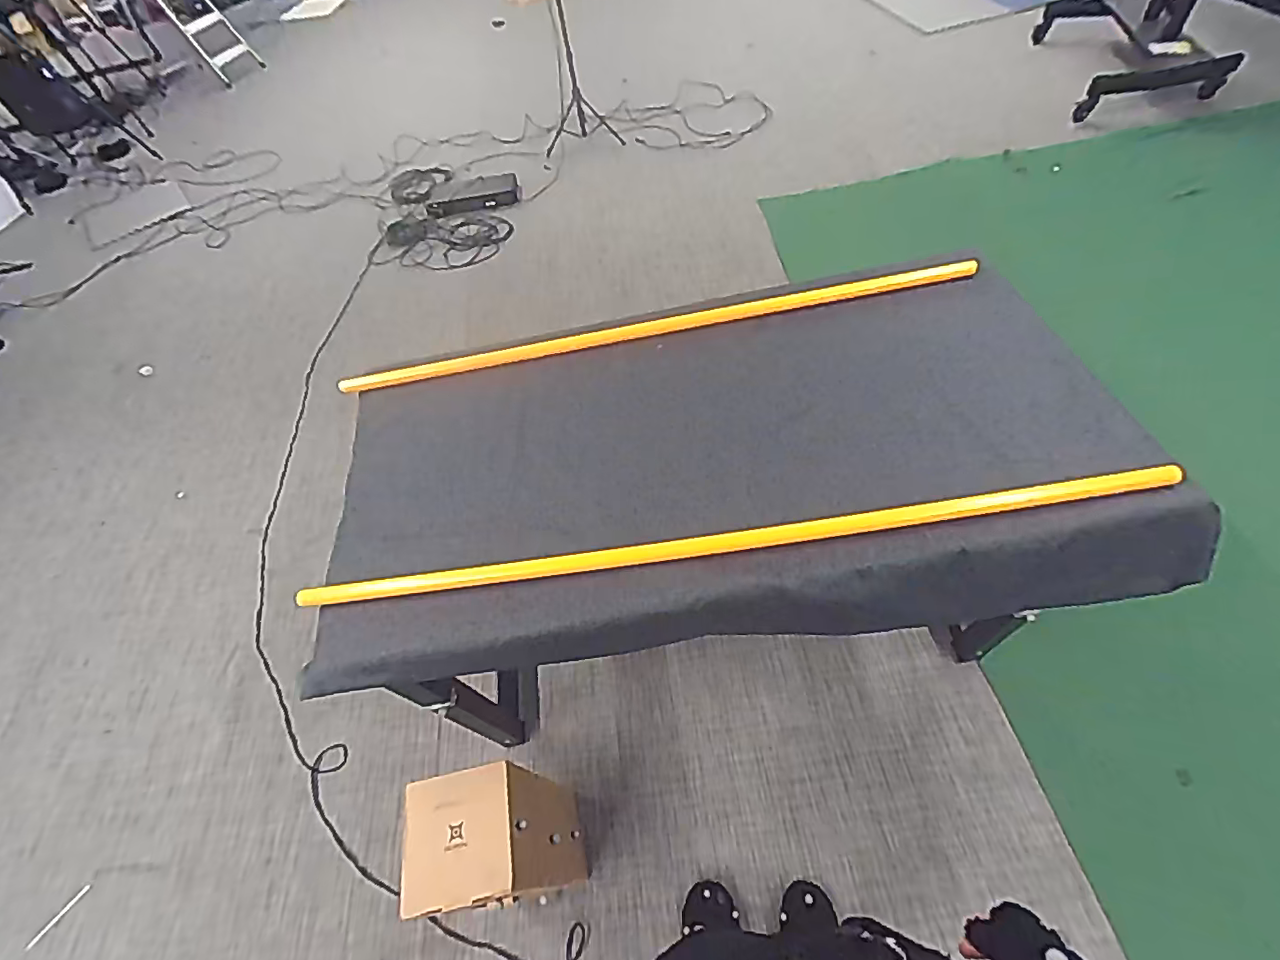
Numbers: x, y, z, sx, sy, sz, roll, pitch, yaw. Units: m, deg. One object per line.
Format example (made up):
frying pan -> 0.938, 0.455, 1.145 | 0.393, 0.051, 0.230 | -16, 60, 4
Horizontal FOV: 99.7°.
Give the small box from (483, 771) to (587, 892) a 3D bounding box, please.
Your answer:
small box -> -0.221, 0.747, 1.150 | 0.168, 0.176, 0.179 | -17, 56, -2
